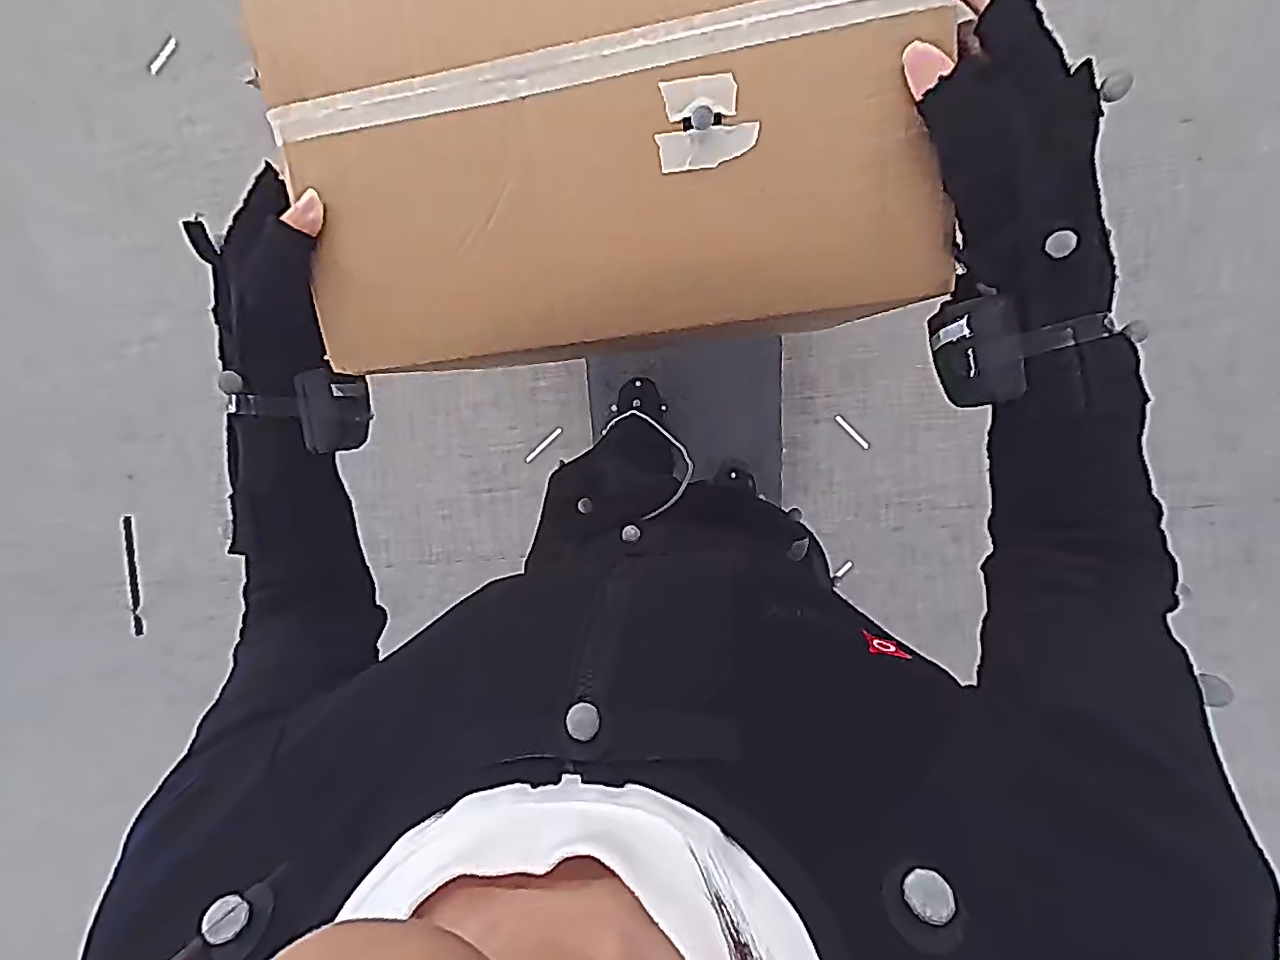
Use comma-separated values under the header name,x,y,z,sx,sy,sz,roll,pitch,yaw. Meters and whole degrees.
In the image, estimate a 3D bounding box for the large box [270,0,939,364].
name,x,y,z,sx,sy,sz,roll,pitch,yaw
large box,-0.016,-0.285,0.476,0.408,0.320,0.320,-6,102,8
